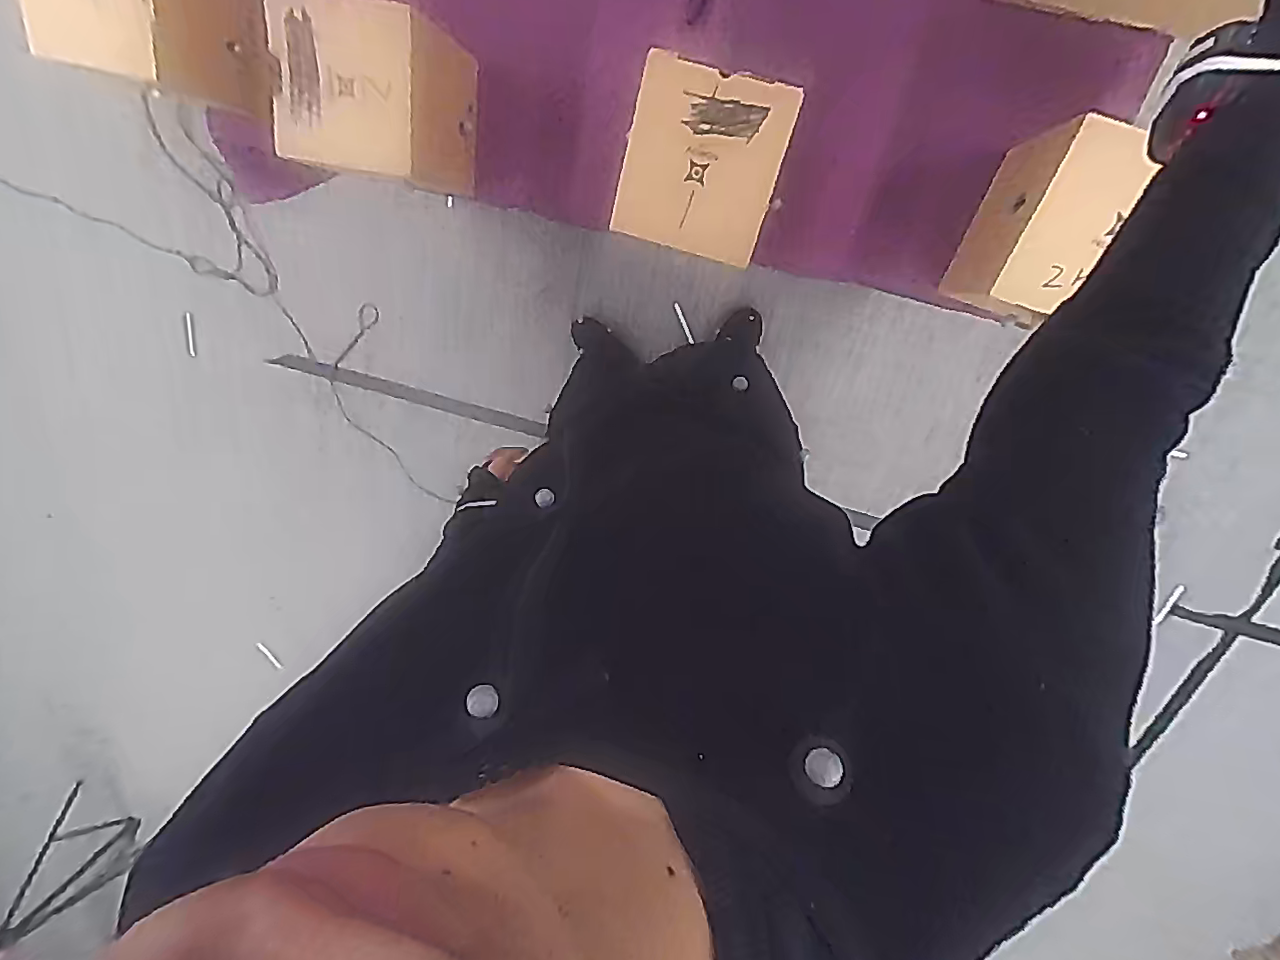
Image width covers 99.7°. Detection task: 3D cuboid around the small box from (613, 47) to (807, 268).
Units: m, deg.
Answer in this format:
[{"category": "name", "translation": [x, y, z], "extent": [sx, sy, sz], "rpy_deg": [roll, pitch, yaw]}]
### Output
[{"category": "small box", "translation": [0.081, -0.367, 0.649], "extent": [0.168, 0.176, 0.179], "rpy_deg": [18, 114, 4]}]

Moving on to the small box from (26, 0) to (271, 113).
[{"category": "small box", "translation": [-0.618, -0.595, 0.690], "extent": [0.179, 0.176, 0.168], "rpy_deg": [13, 113, 4]}]

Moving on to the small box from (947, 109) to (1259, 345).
[{"category": "small box", "translation": [0.484, -0.272, 0.607], "extent": [0.168, 0.176, 0.179], "rpy_deg": [21, 113, 3]}]
